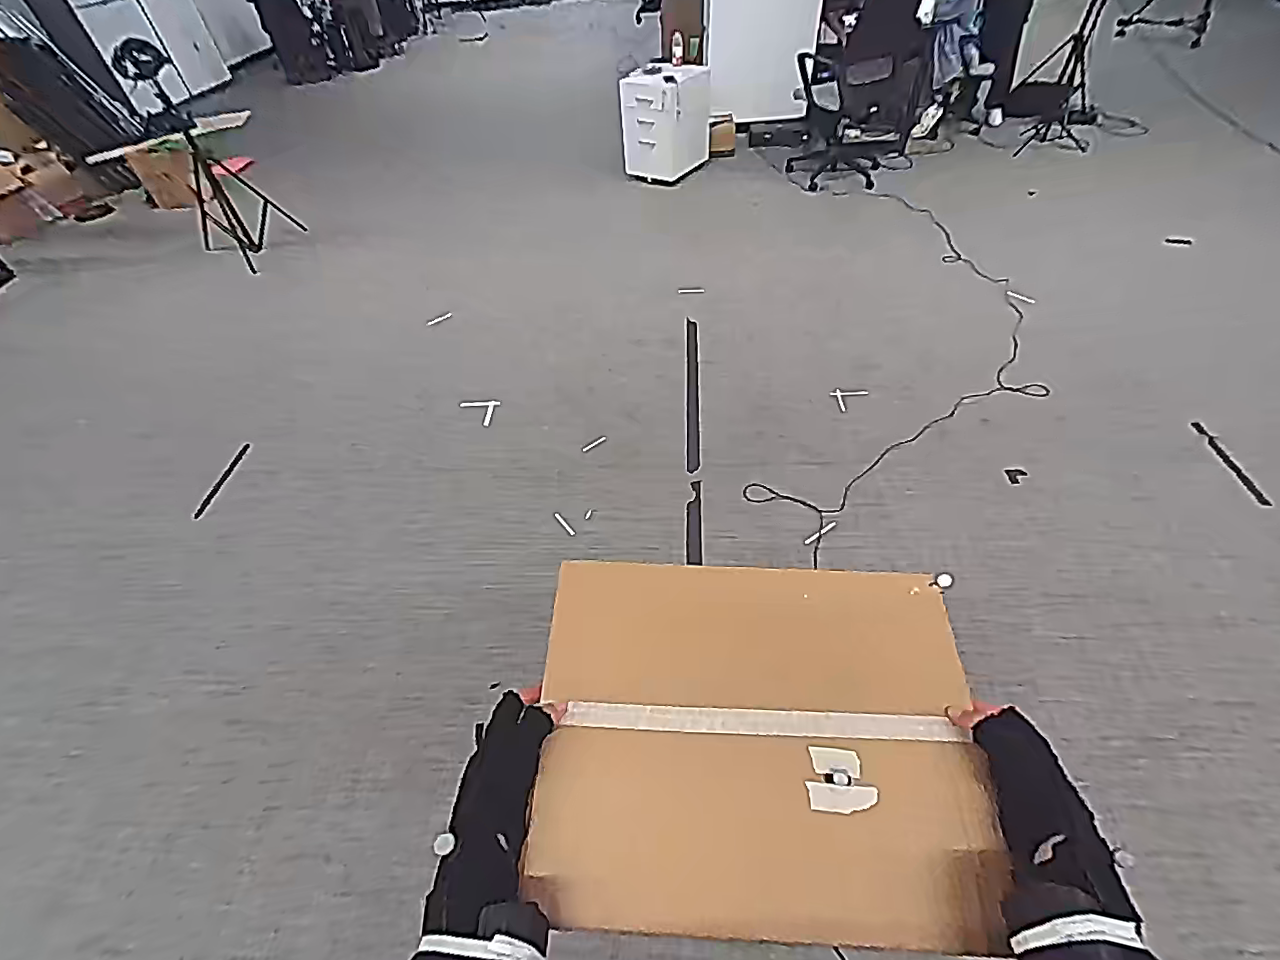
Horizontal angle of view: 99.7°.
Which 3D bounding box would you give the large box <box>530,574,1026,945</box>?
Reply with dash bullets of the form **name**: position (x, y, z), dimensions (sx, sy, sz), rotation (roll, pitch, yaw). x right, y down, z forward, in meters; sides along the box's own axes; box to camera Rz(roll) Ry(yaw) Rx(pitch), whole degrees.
- **large box**: position (0.111, 0.319, 0.633), dimensions (0.408, 0.320, 0.320), rotation (2, 56, 1)
